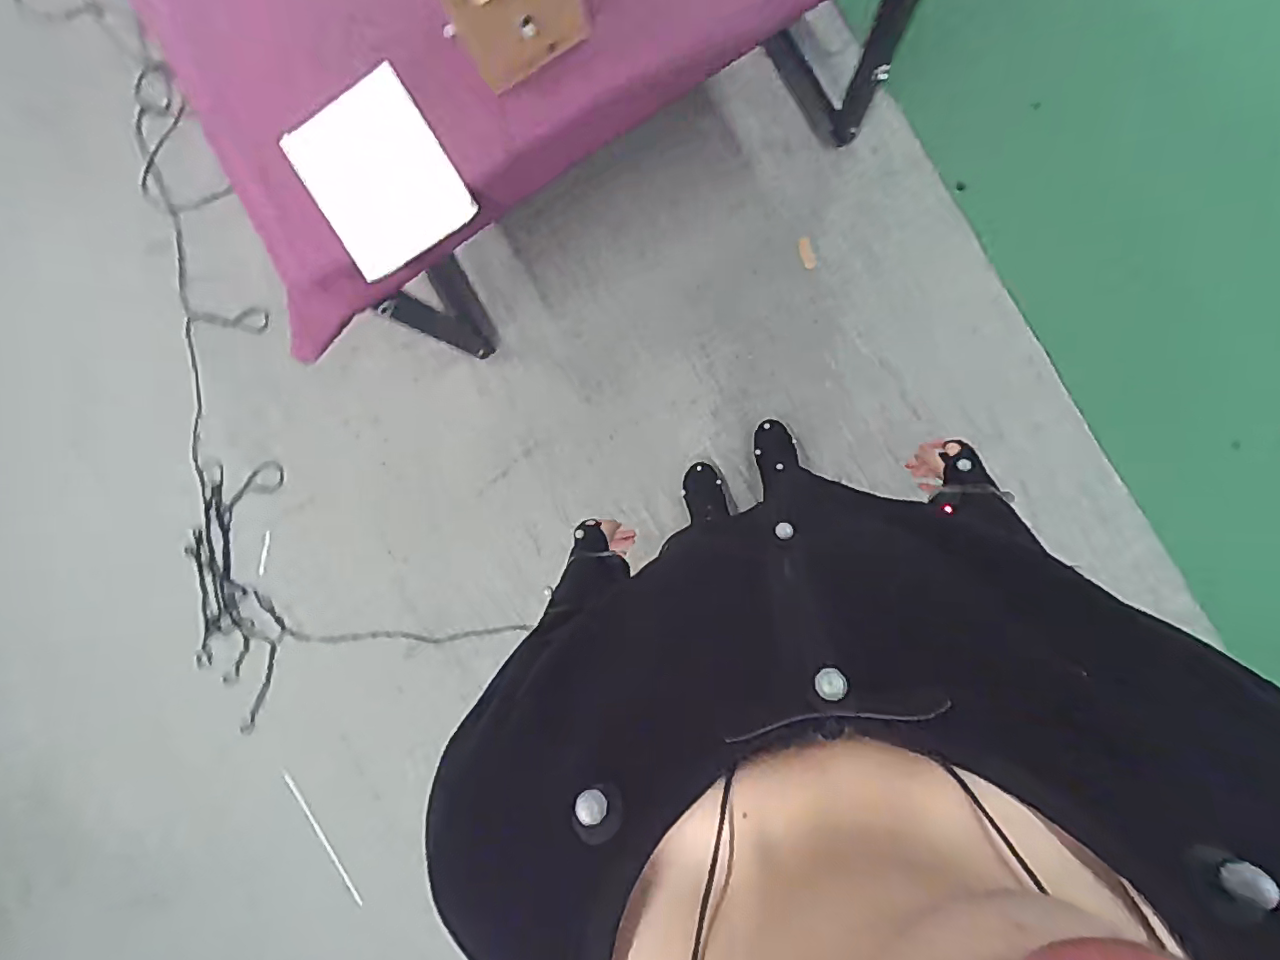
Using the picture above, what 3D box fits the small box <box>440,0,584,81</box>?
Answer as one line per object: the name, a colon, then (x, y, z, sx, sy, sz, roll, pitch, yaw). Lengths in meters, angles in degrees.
small box: (-0.193, -0.681, 0.715, 0.168, 0.176, 0.179, -29, 89, 6)
